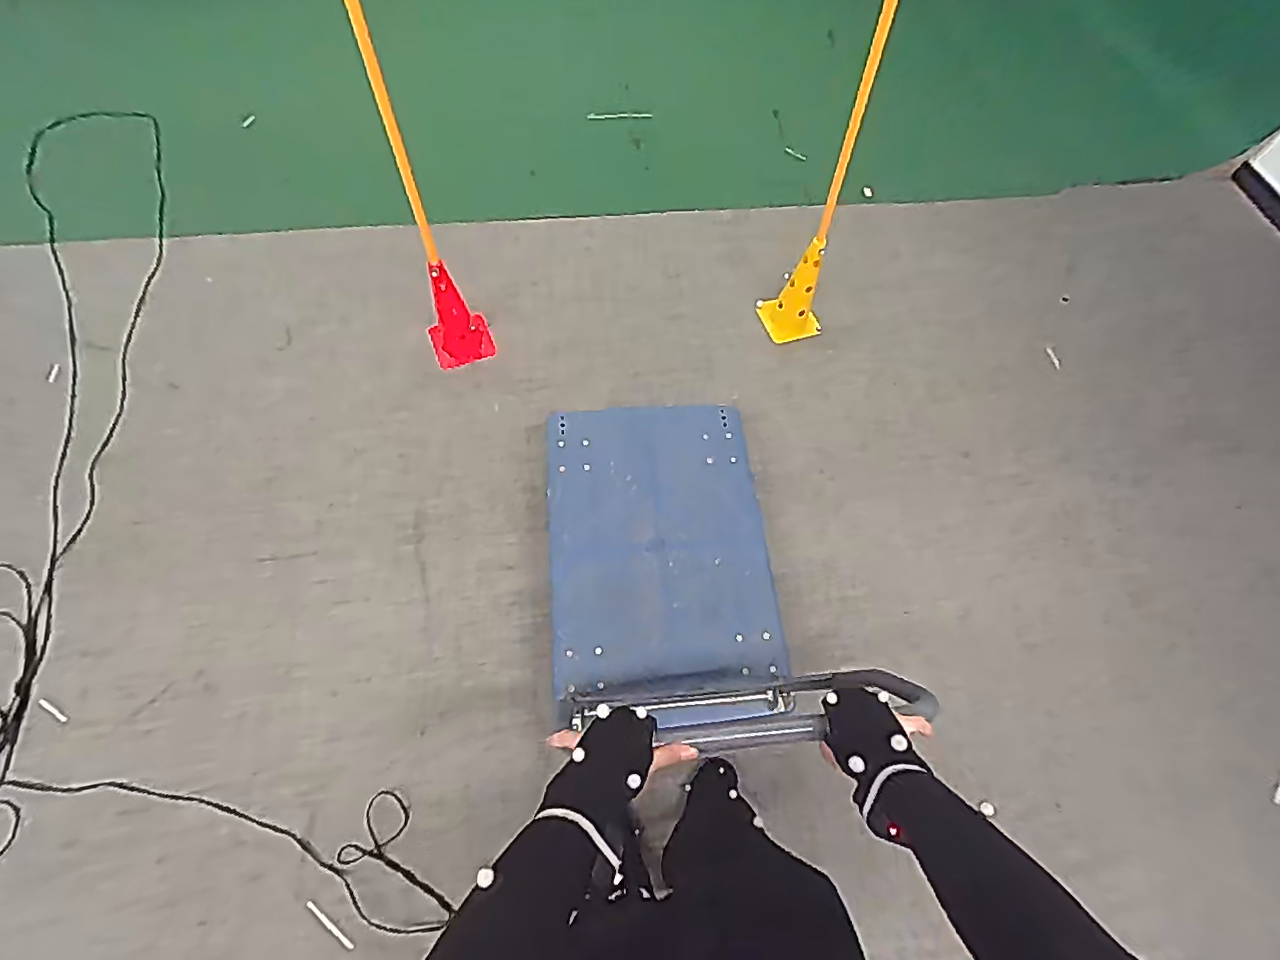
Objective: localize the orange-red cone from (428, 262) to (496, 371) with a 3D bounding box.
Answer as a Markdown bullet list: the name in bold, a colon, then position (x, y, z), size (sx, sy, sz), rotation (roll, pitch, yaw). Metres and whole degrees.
- **orange-red cone**: position (-0.610, -0.548, 1.736), size (0.199, 0.360, 0.198), rotation (-20, 66, -11)
